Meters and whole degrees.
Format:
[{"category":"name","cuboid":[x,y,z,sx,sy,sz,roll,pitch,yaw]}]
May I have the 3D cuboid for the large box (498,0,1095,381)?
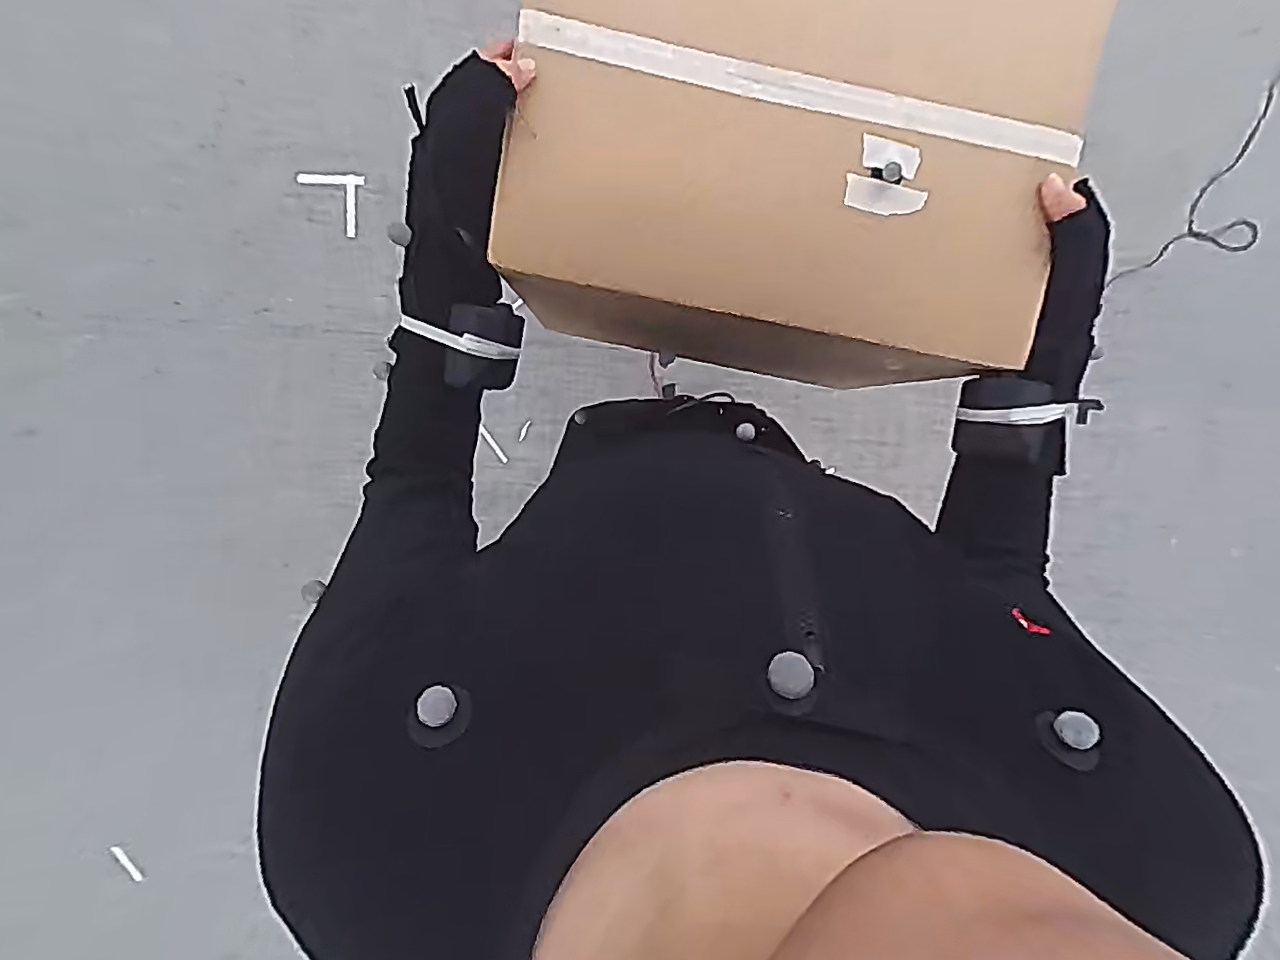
[{"category":"large box","cuboid":[0.105,-0.291,0.536,0.408,0.320,0.320,10,98,-5]}]
